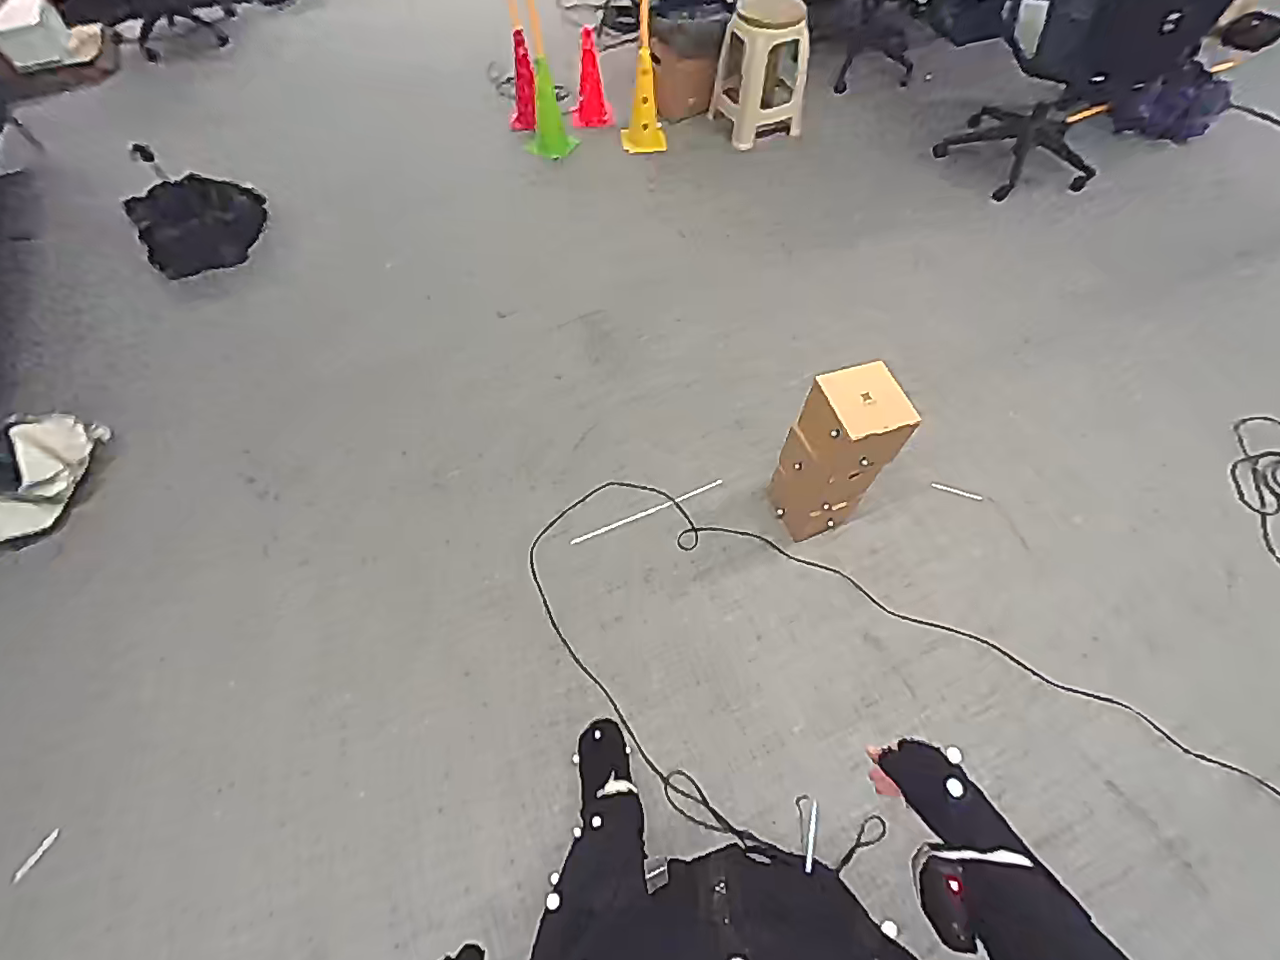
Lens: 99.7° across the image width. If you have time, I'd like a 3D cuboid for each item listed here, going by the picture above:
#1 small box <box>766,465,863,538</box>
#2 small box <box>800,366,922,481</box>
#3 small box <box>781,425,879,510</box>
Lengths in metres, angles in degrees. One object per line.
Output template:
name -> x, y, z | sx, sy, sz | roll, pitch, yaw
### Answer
small box -> 0.477, 0.043, 1.502 | 0.168, 0.176, 0.179 | -21, 64, -14
small box -> 0.485, -0.125, 1.219 | 0.168, 0.176, 0.179 | -15, 62, -8
small box -> 0.478, -0.044, 1.360 | 0.168, 0.176, 0.179 | -19, 61, -10
